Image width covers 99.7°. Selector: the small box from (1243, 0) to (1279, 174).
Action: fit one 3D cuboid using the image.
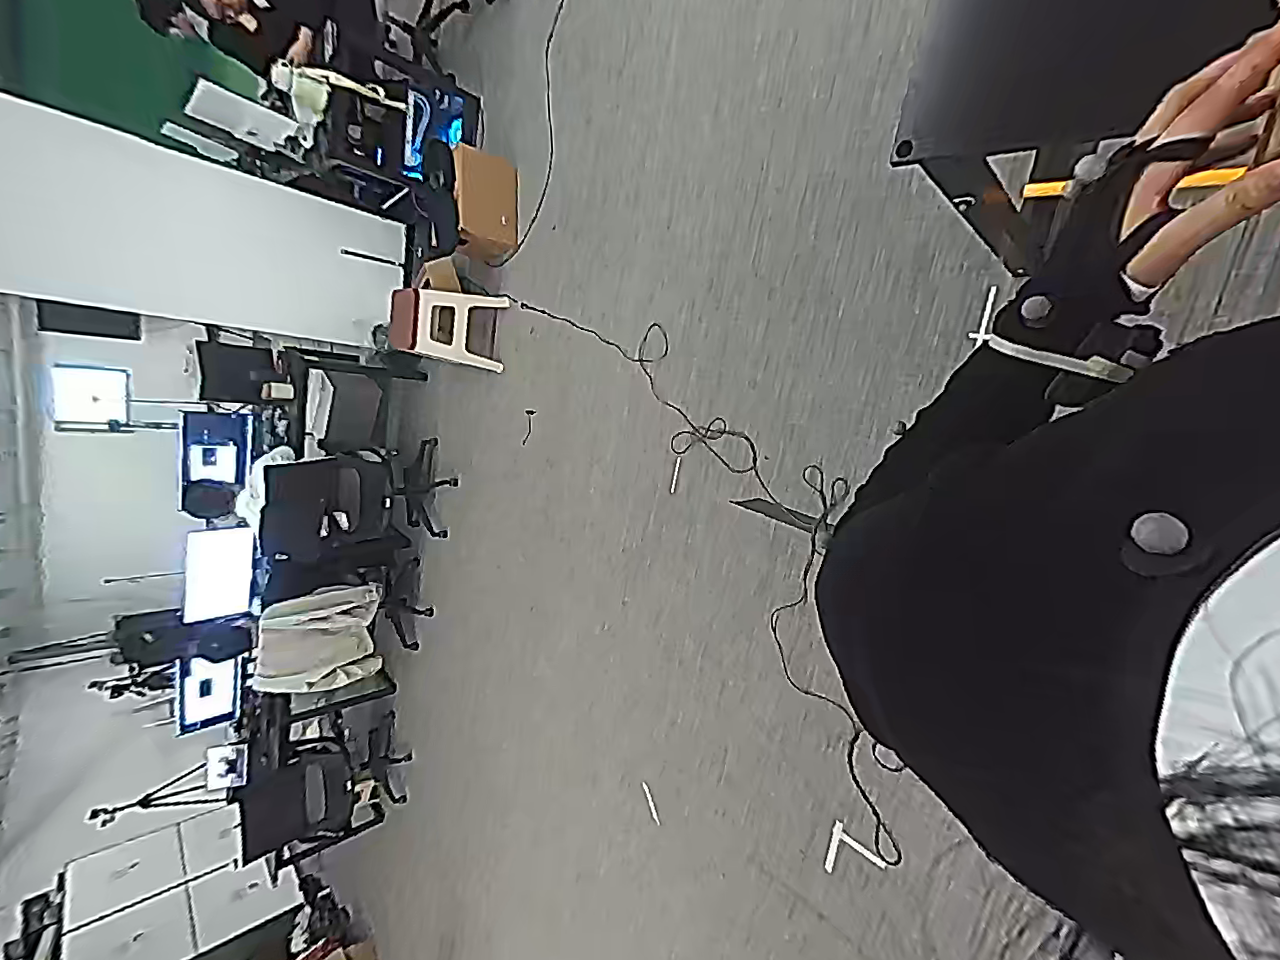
[{"bbox_3d":[0.409,-0.250,0.238,0.168,0.176,0.179,13,111,41],"label":"small box"}]
